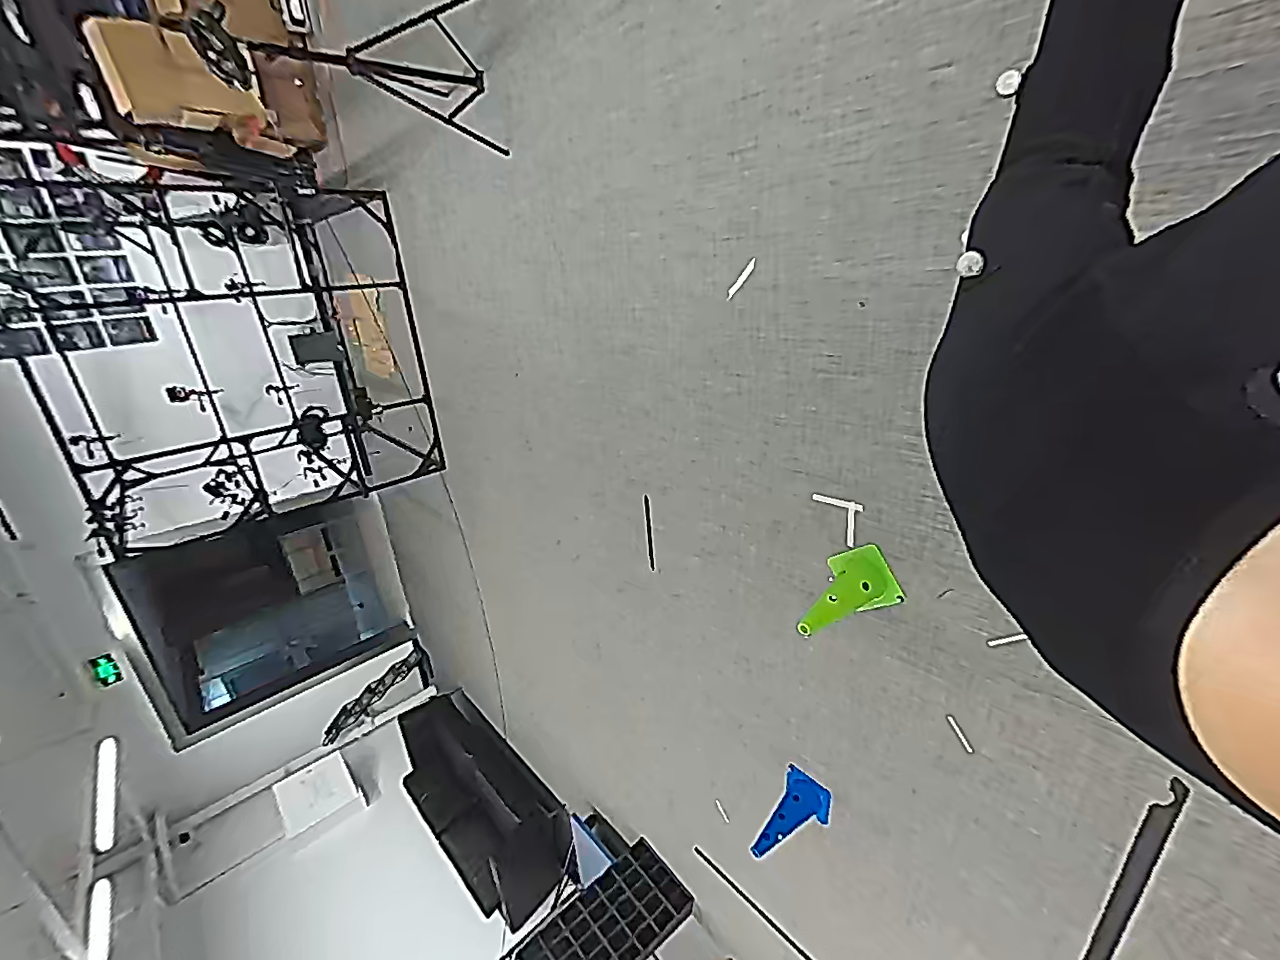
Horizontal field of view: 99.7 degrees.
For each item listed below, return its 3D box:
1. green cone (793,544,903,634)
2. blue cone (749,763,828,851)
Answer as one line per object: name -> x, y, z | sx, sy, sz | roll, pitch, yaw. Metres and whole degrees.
green cone -> 0.592, 0.363, 1.643 | 0.202, 0.368, 0.200 | -39, 76, 54
blue cone -> 0.578, 1.360, 2.180 | 0.192, 0.380, 0.193 | 24, 125, 44
